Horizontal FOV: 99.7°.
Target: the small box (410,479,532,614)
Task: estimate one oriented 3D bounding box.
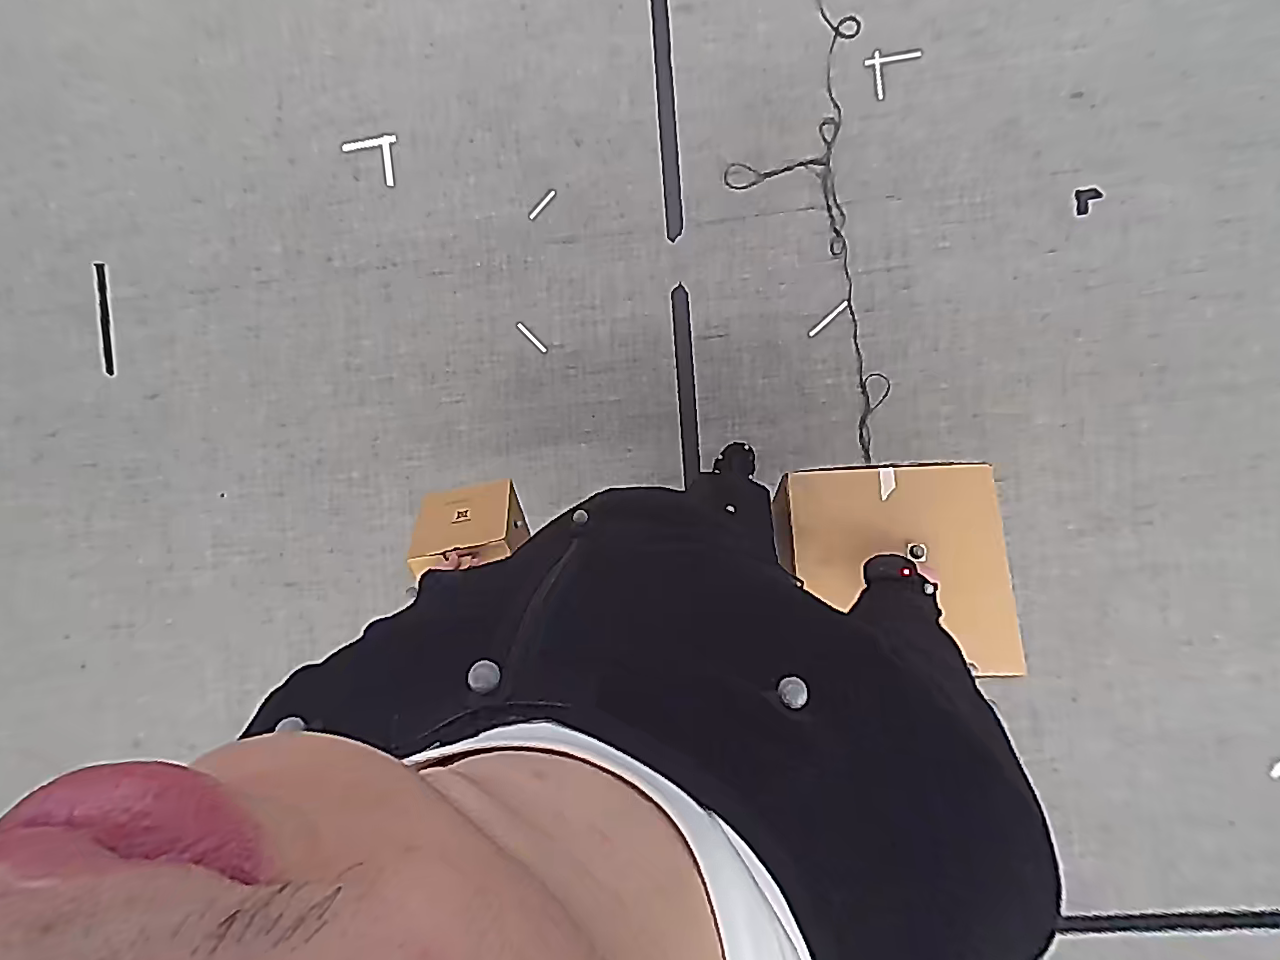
[{"bbox_3d":[-0.301,0.128,1.002,0.168,0.179,0.176,-11,126,-3],"label":"small box"}]
